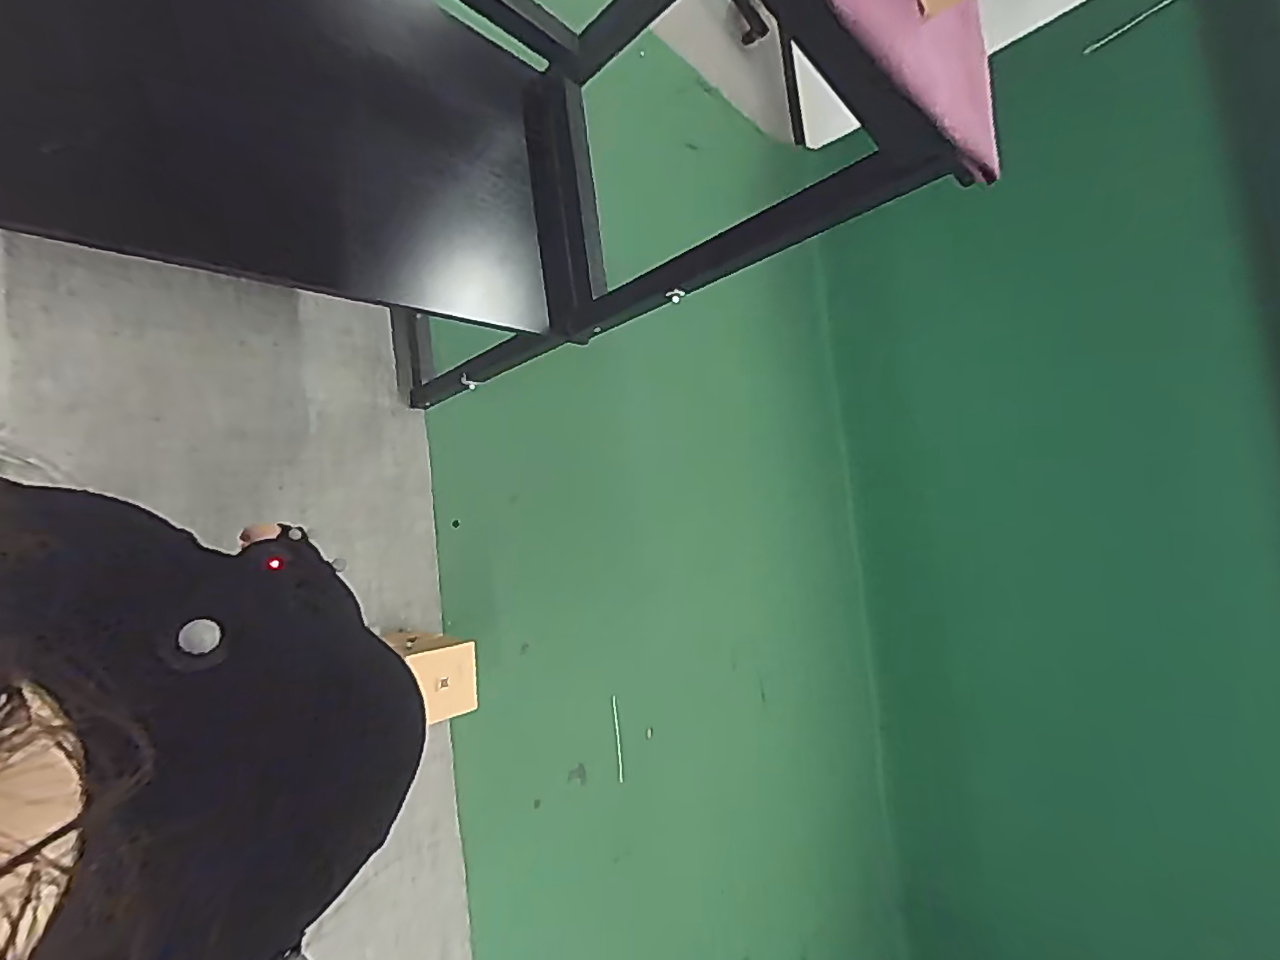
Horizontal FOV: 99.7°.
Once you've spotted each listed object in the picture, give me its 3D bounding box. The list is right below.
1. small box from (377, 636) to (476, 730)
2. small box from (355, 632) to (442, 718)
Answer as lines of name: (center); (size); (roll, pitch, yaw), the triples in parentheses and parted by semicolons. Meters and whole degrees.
small box: (-0.520, 0.481, 1.306); (0.179, 0.176, 0.168); (1, 84, -48)
small box: (-0.633, 0.501, 1.420); (0.168, 0.176, 0.179); (2, 83, -47)
